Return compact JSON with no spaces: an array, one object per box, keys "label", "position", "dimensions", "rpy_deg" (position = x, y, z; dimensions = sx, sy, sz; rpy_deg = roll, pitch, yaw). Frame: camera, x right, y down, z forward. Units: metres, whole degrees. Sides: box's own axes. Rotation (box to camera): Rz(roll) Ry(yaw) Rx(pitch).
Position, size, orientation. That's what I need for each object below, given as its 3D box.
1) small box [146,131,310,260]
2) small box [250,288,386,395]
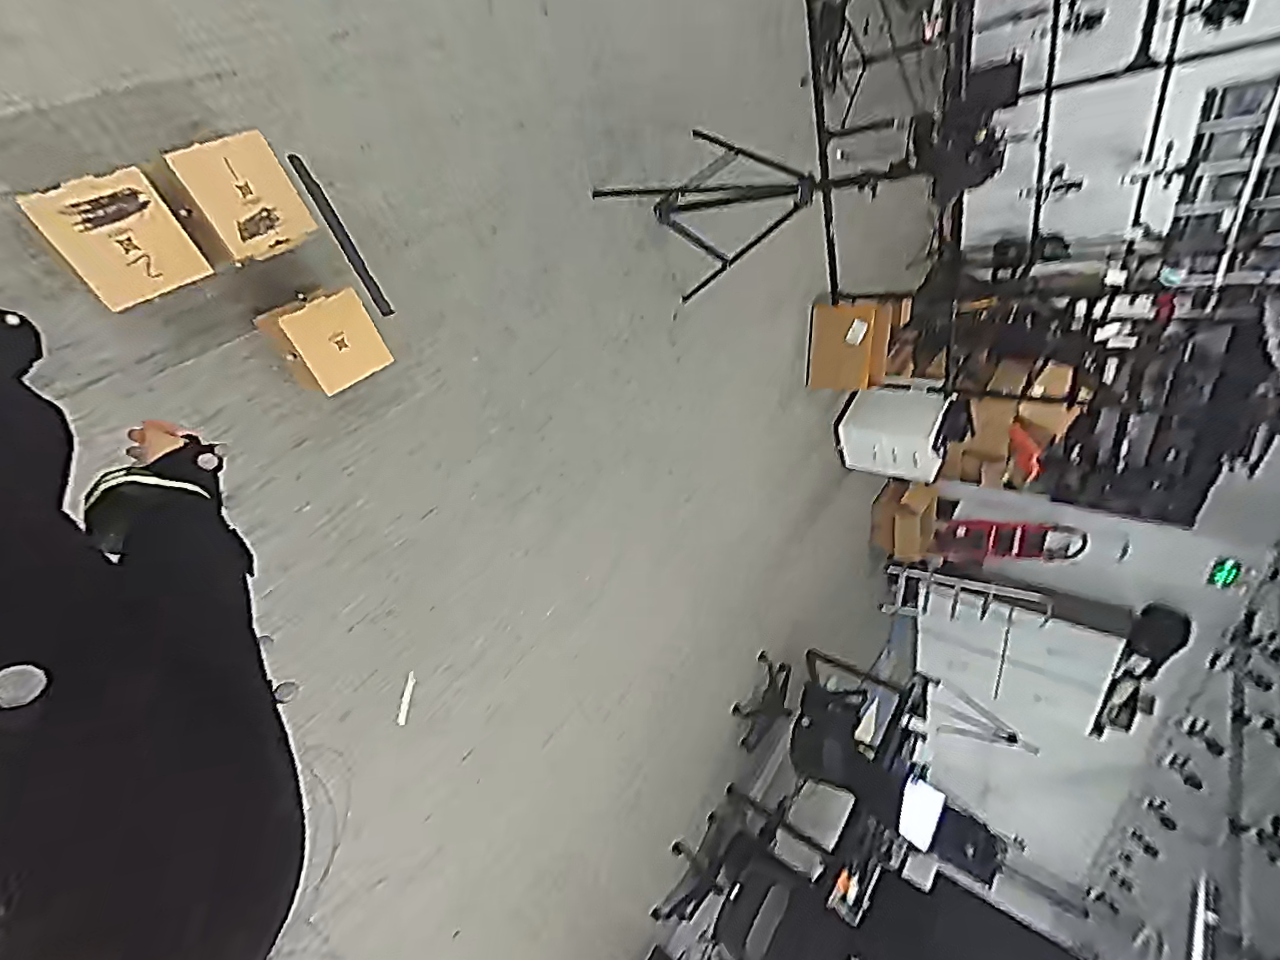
[{"label":"small box","position":[-0.779,-0.531,1.027],"dimensions":[0.168,0.176,0.179],"rpy_deg":[-44,131,-32]},{"label":"small box","position":[-0.704,-0.308,1.186],"dimensions":[0.168,0.176,0.179],"rpy_deg":[-43,130,-33]}]
